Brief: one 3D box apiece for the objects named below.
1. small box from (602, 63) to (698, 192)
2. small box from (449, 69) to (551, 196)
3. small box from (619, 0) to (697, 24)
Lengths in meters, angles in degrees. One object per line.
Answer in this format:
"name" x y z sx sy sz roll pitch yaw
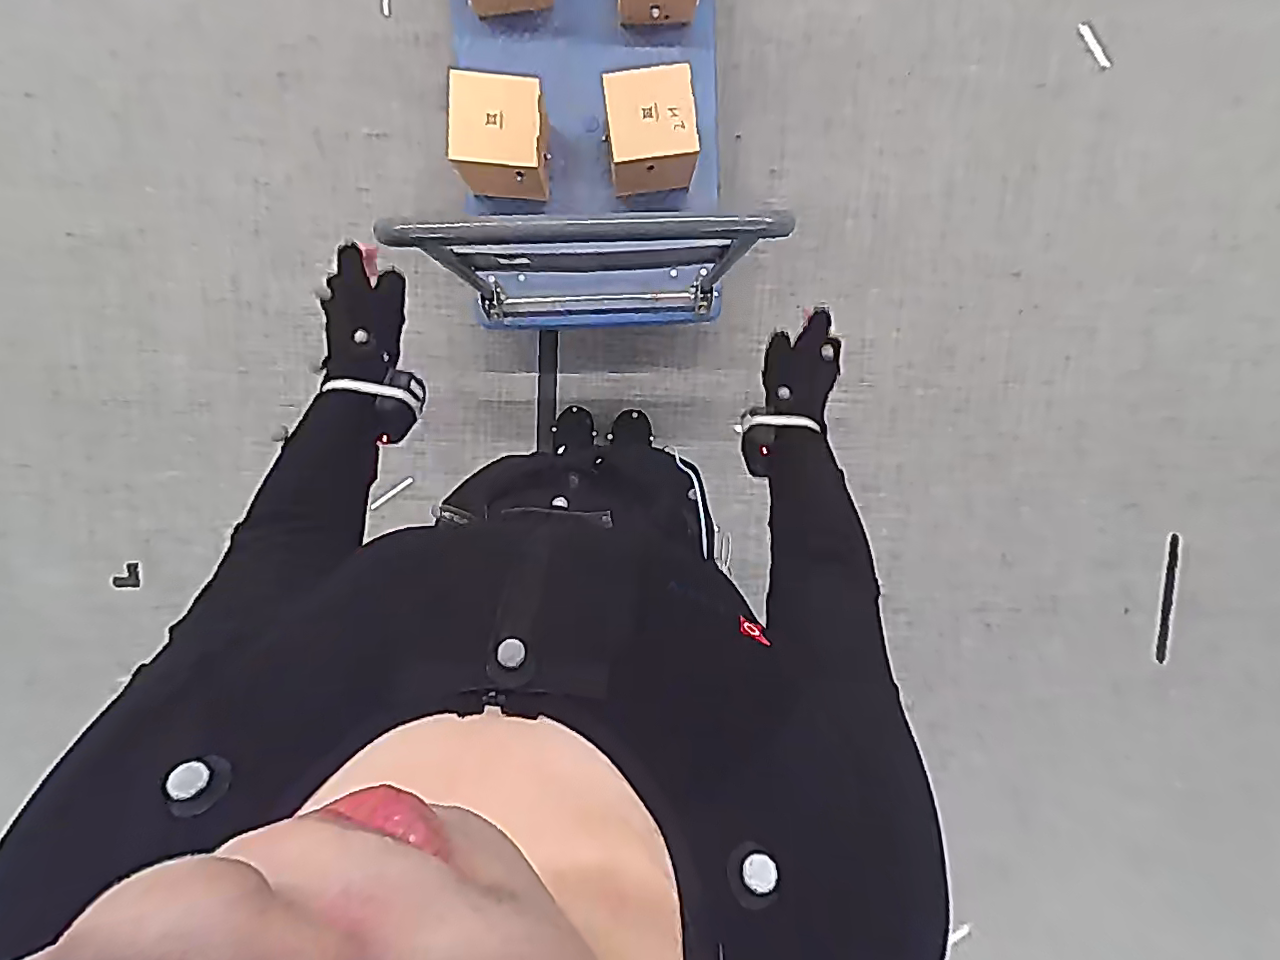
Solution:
"small box" 0.020 -0.732 1.142 0.179 0.176 0.168 -8 98 -1
"small box" -0.286 -0.715 1.133 0.179 0.176 0.168 3 97 -4
"small box" 0.037 -1.083 1.099 0.168 0.176 0.179 -3 98 -2
